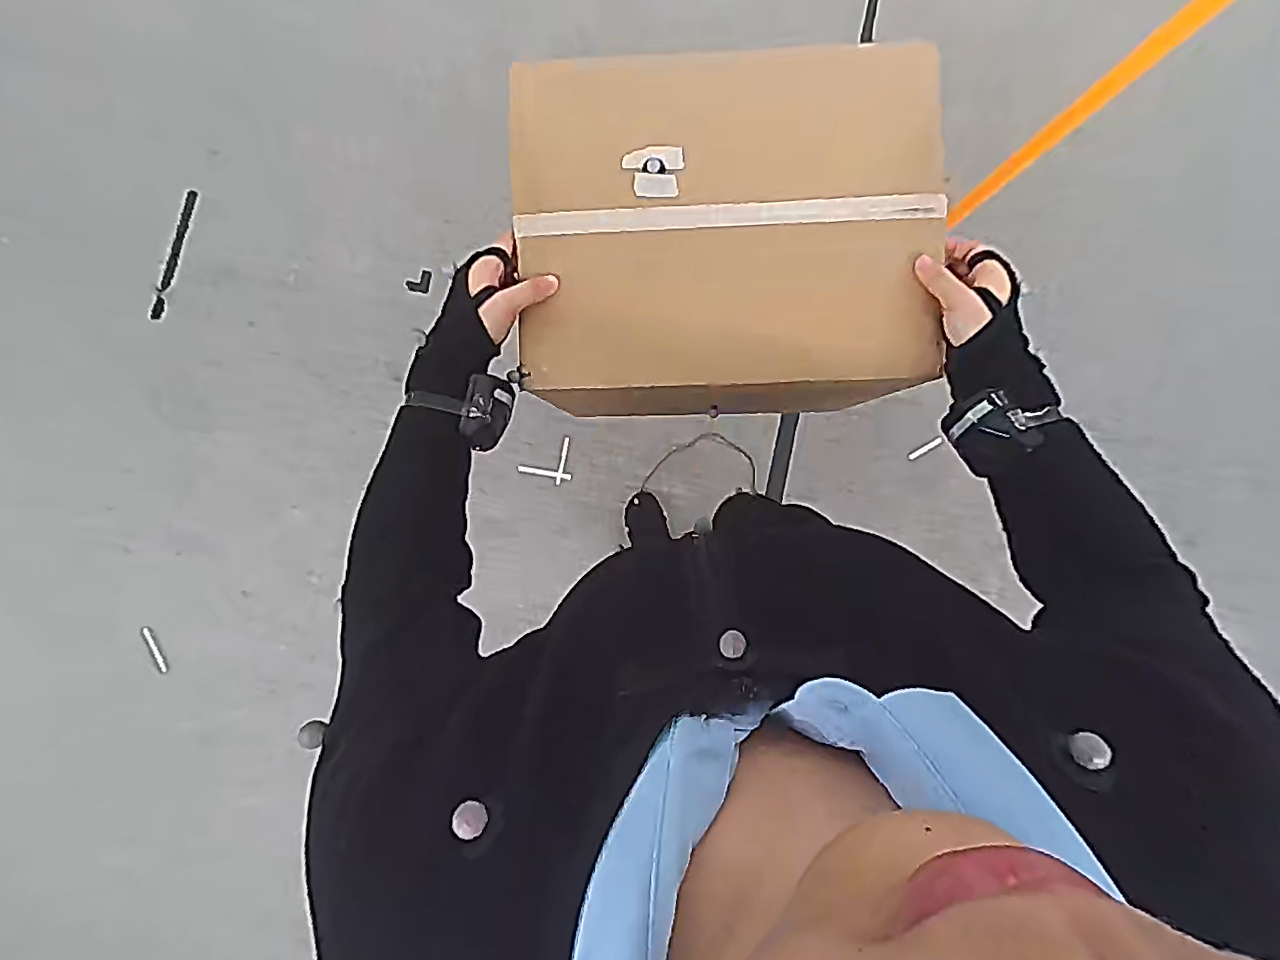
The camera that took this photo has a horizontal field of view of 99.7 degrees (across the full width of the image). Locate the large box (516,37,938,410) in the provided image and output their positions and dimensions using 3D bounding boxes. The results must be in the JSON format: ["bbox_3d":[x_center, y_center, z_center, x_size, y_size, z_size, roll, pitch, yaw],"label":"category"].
[{"bbox_3d":[0.092,-0.260,0.671,0.408,0.320,0.320,-2,91,4],"label":"large box"}]
